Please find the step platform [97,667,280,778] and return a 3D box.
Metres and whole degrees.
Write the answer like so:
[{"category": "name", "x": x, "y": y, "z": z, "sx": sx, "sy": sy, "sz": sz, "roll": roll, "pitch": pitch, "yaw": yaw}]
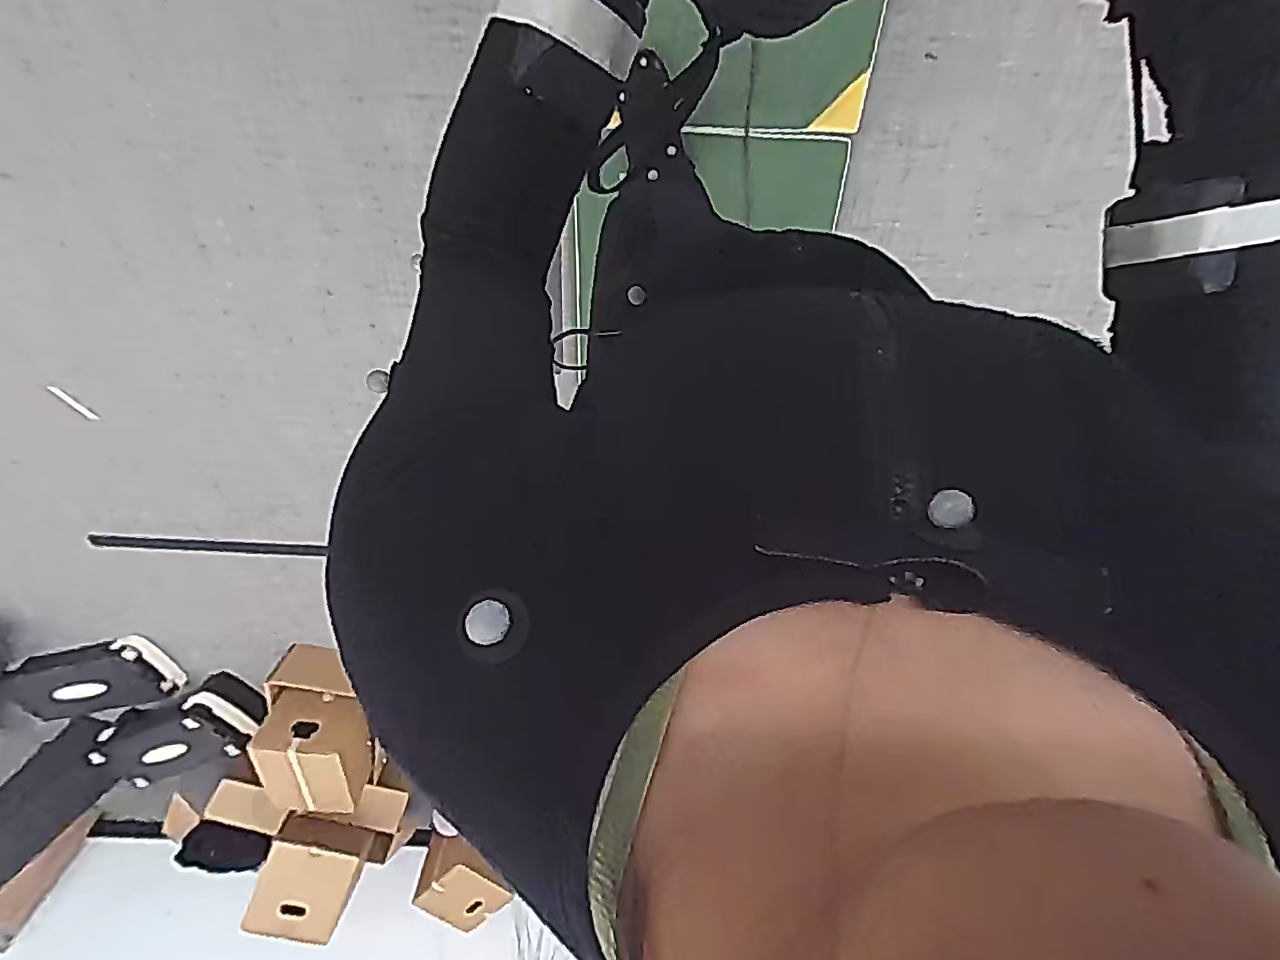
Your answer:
[{"category": "step platform", "x": -1.888, "y": 1.021, "z": 2.260, "sx": 0.684, "sy": 0.204, "sz": 0.286, "roll": -23, "pitch": 120, "yaw": 14}]
